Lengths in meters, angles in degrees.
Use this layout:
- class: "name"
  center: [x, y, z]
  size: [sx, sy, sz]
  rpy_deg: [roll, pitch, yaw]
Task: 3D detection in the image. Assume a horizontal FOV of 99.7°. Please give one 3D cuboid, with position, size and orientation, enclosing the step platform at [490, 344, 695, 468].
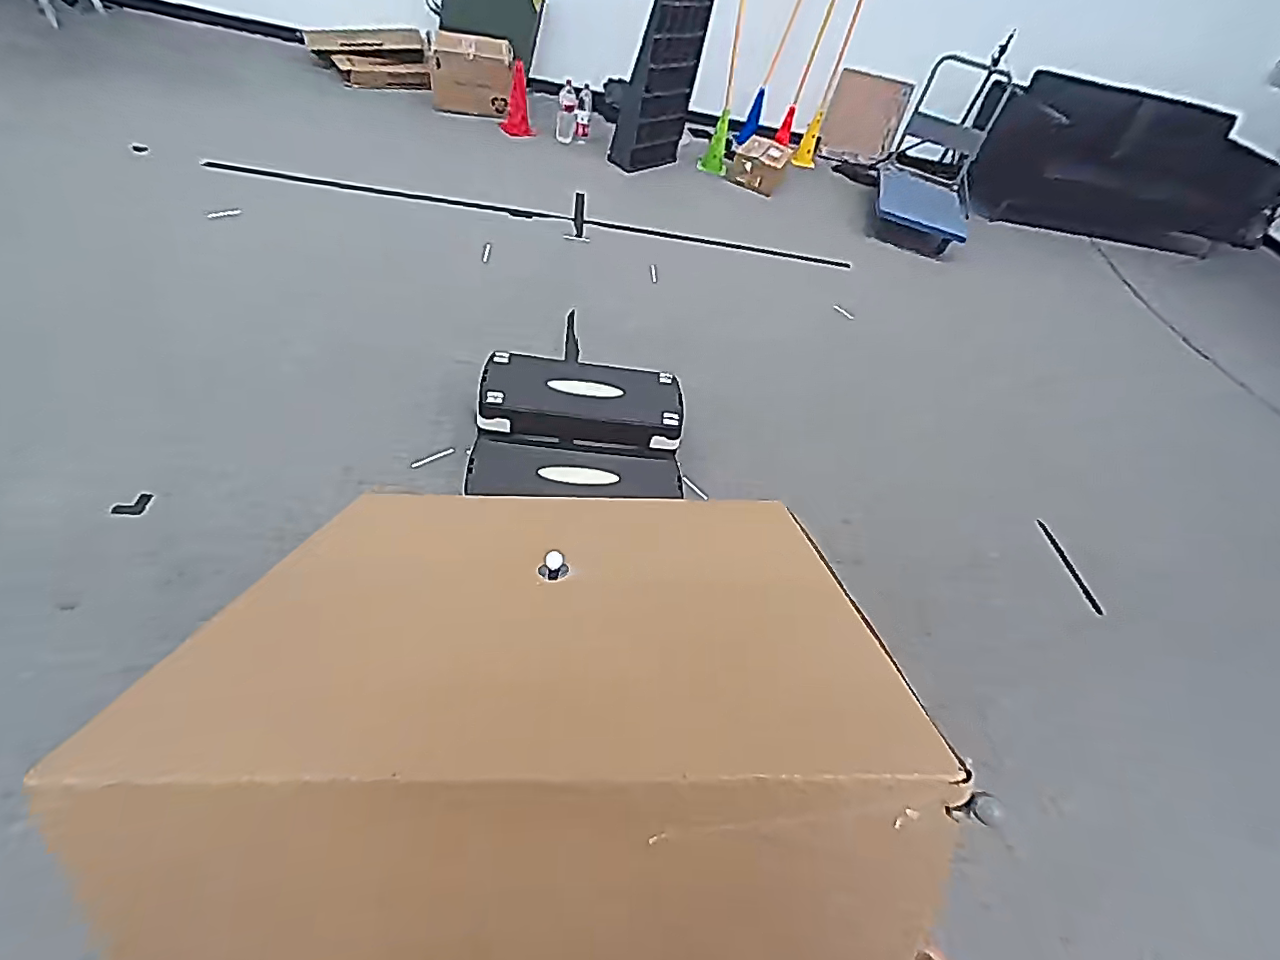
- class: "step platform"
  center: [-0.153, -0.253, 1.845]
  size: [0.684, 0.204, 0.286]
  rpy_deg: [10, 49, -7]
